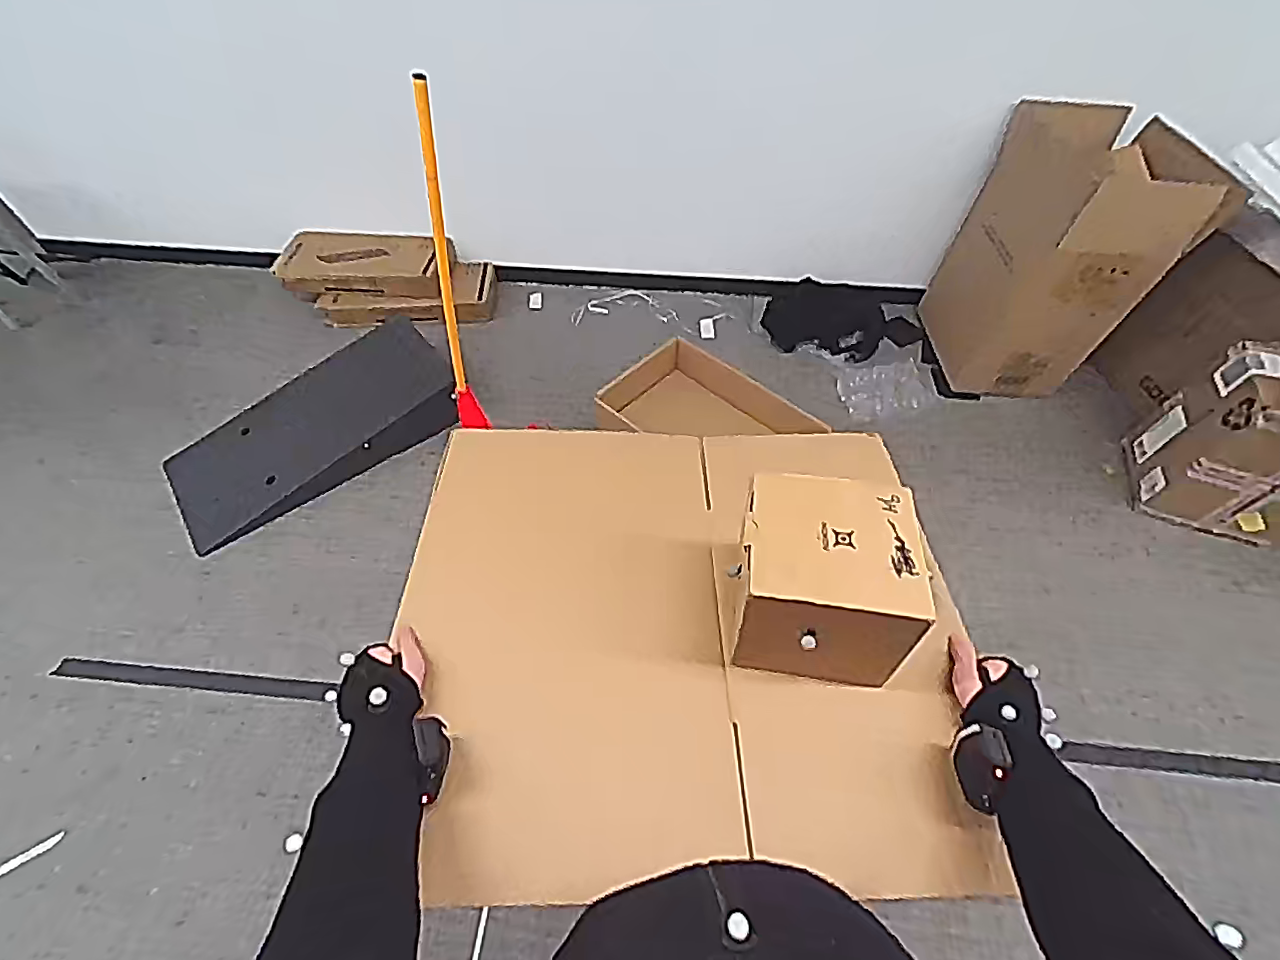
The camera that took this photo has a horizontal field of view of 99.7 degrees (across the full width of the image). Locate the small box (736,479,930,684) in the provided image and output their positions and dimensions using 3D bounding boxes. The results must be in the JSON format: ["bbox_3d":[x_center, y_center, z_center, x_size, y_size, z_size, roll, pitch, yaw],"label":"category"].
[{"bbox_3d":[0.208,0.120,0.631,0.179,0.176,0.168,5,49,9],"label":"small box"}]
